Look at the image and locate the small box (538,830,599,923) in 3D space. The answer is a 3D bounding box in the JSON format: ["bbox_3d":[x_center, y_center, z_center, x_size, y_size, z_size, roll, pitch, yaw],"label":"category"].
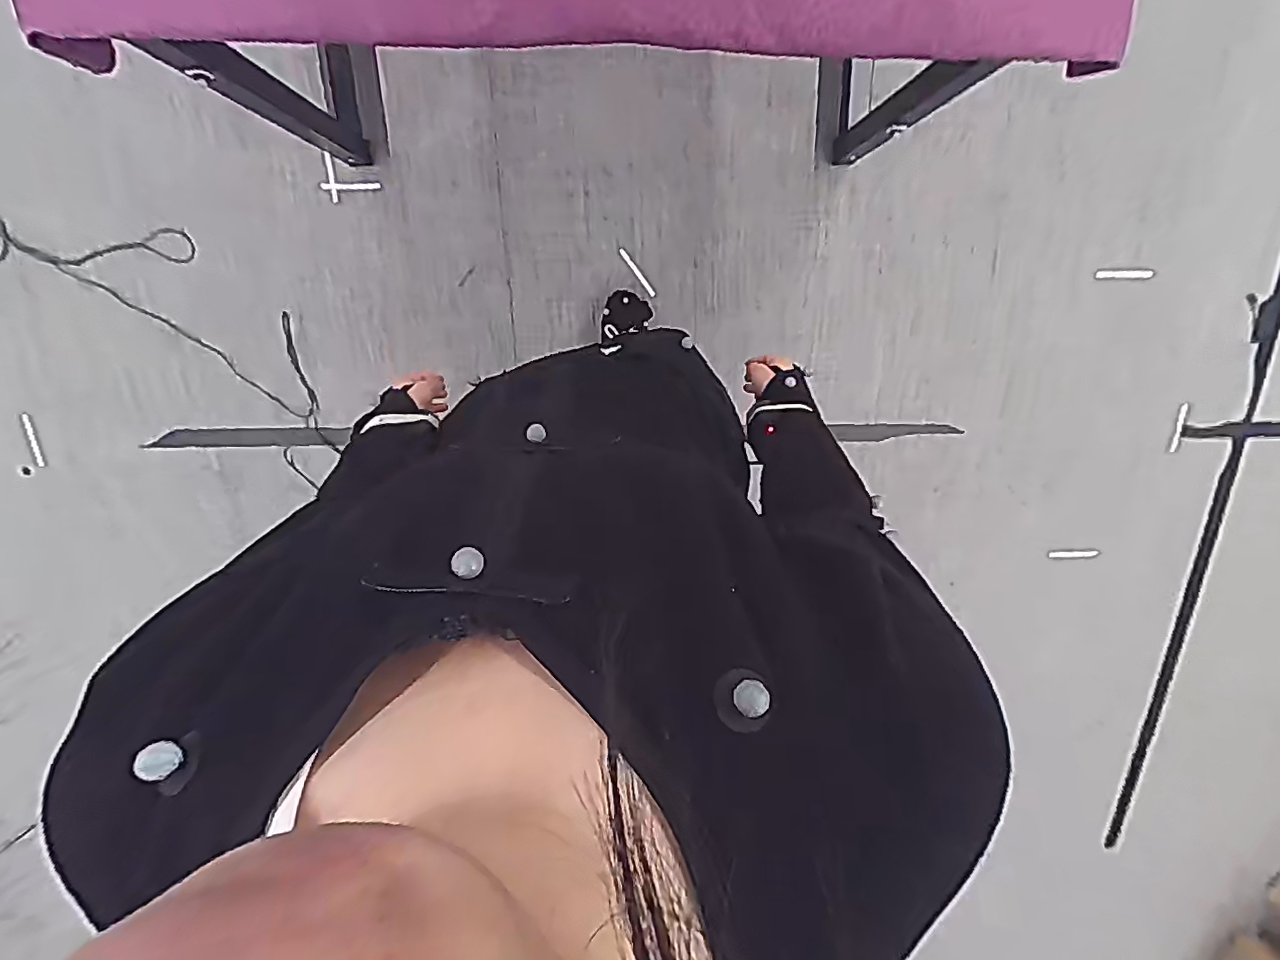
[{"bbox_3d":[-0.229,1.303,1.784,0.168,0.176,0.179,-10,107,-1],"label":"small box"}]
